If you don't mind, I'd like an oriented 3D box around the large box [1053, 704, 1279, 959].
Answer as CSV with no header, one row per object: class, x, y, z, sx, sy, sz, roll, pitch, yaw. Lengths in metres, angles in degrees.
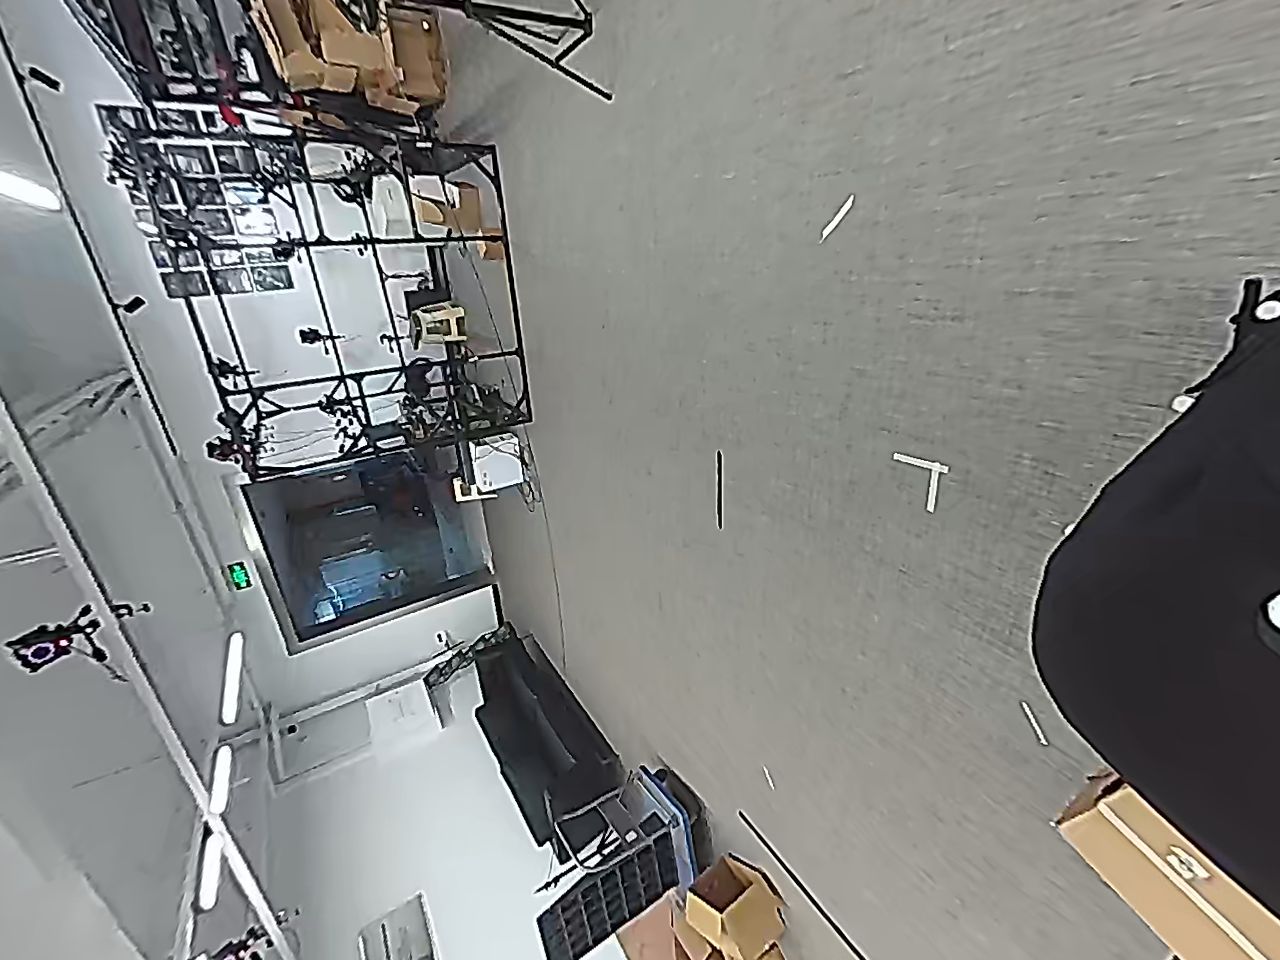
large box,1.200,0.756,1.098,0.408,0.320,0.320,52,144,38
